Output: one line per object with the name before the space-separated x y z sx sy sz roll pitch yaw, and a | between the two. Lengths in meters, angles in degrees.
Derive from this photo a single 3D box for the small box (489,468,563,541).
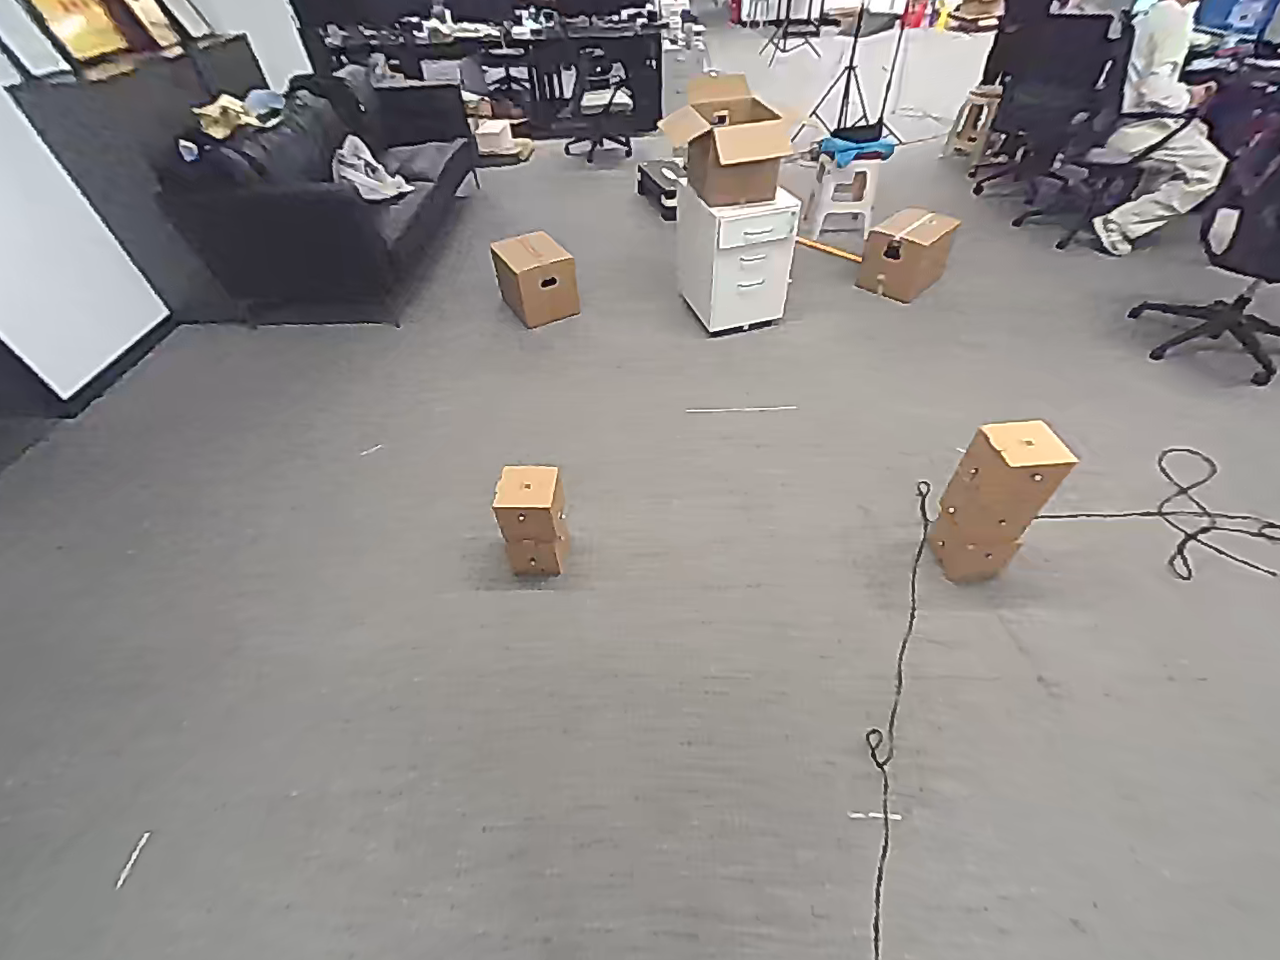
small box | -0.348 0.078 1.681 0.179 0.176 0.168 0 47 3

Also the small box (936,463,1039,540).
small box | 1.018 0.061 1.602 0.179 0.176 0.168 -5 45 1

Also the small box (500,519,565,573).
small box | -0.349 0.196 1.794 0.168 0.176 0.179 0 46 3

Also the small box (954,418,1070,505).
small box | 1.006 -0.048 1.481 0.179 0.176 0.168 -5 46 0

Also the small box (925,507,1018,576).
small box | 1.031 0.187 1.706 0.179 0.176 0.168 -6 46 -3
